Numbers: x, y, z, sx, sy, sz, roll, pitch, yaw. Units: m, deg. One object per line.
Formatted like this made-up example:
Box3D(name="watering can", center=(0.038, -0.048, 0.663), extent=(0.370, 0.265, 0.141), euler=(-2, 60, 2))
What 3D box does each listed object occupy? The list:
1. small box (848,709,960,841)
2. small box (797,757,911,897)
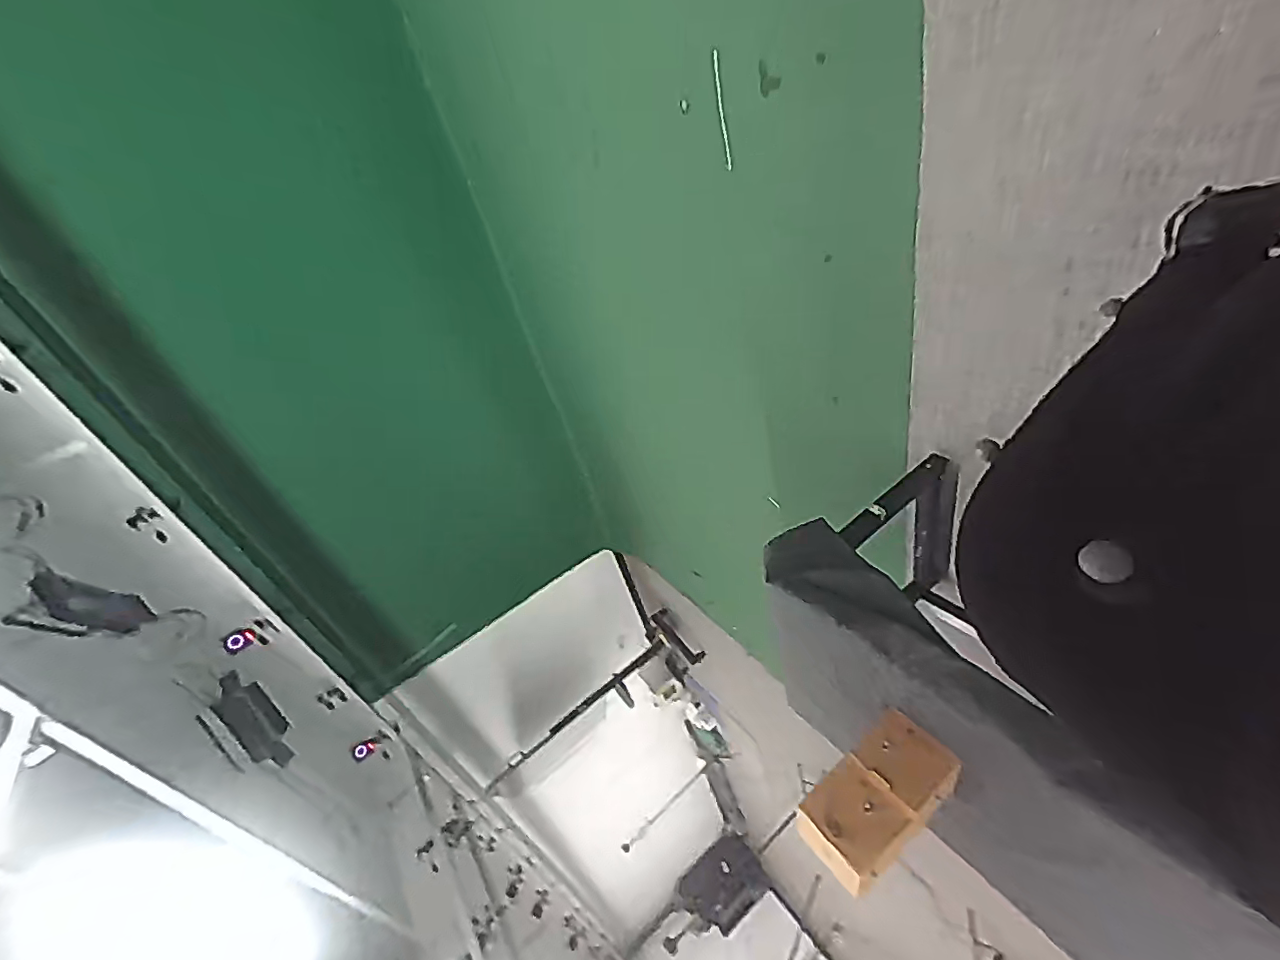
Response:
Box3D(name="small box", center=(0.595, 0.662, 1.228), extent=(0.168, 0.176, 0.179), euler=(37, 153, 47))
Box3D(name="small box", center=(0.468, 0.756, 1.187), extent=(0.168, 0.176, 0.179), euler=(37, 152, 46))
